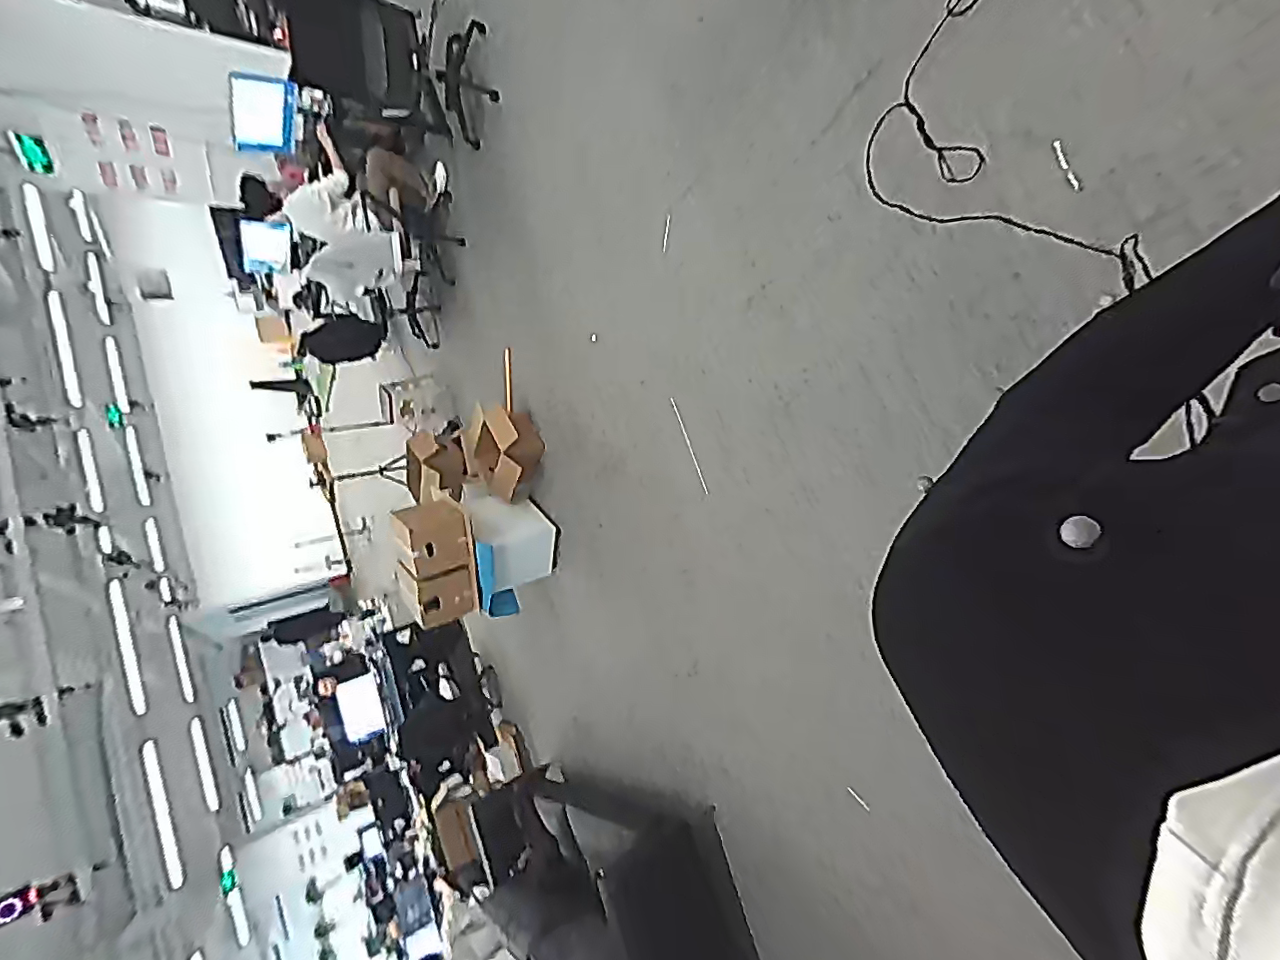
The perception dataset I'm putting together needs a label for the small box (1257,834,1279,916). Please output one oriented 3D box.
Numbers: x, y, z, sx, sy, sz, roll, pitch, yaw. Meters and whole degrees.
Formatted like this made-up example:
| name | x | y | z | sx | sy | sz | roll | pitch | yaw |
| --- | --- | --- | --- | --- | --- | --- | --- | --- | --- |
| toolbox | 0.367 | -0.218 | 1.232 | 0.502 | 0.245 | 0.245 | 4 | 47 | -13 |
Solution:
| name | x | y | z | sx | sy | sz | roll | pitch | yaw |
| --- | --- | --- | --- | --- | --- | --- | --- | --- | --- |
| small box | 1.084 | 0.691 | 0.818 | 0.168 | 0.176 | 0.179 | -17 | 88 | 52 |
